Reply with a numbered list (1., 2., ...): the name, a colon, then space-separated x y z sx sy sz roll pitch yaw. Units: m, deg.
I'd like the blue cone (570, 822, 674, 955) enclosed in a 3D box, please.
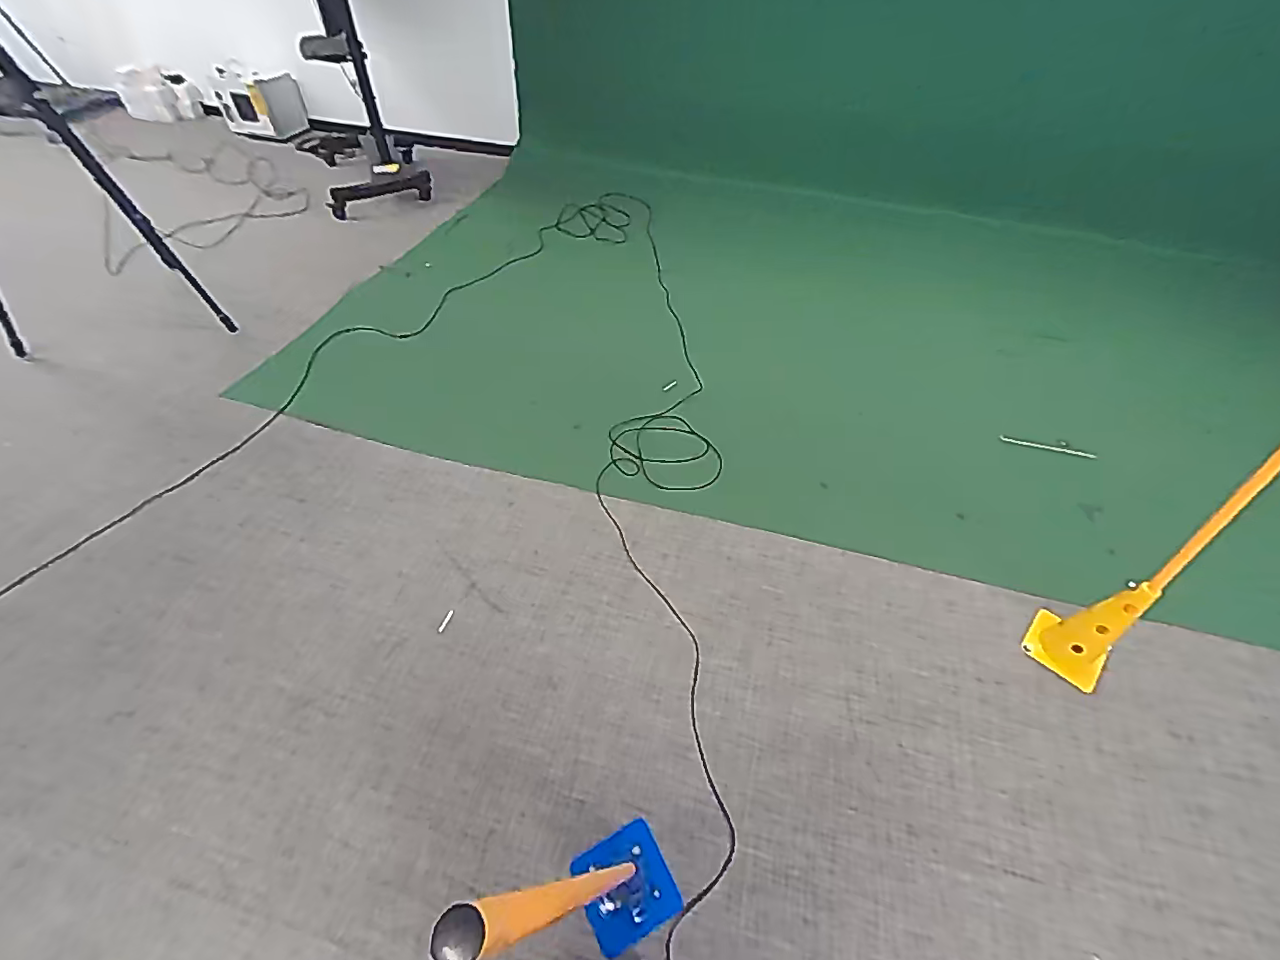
1. blue cone: -0.034 0.789 1.061 0.193 0.380 0.192 -23 55 -20
